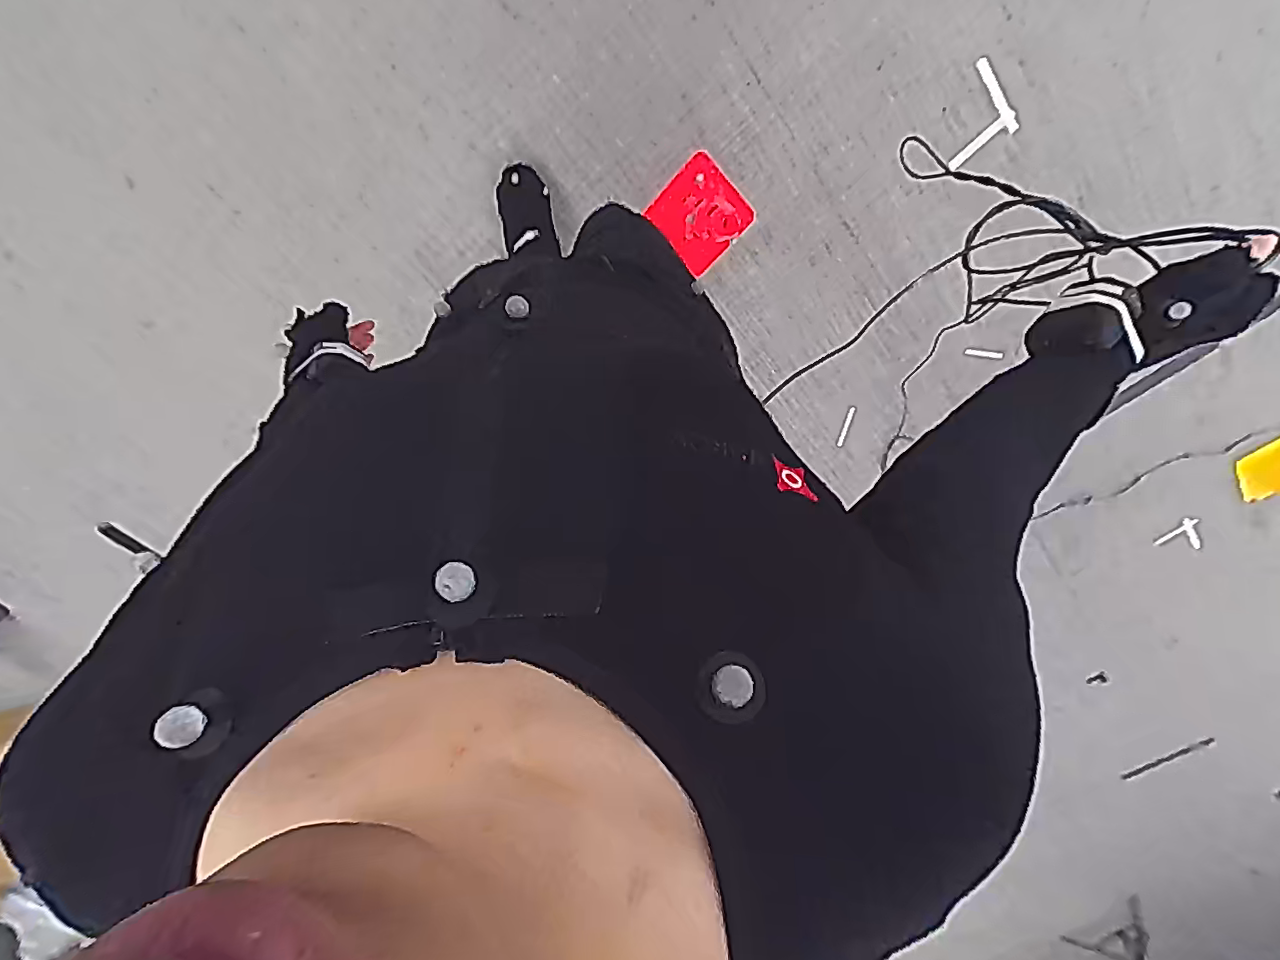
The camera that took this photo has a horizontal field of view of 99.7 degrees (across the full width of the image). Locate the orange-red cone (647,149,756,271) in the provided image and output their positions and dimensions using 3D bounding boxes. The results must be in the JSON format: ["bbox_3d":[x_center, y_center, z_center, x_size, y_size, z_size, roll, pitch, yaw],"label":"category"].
[{"bbox_3d":[0.147,-0.531,1.088,0.199,0.360,0.198,-42,112,18],"label":"orange-red cone"}]
